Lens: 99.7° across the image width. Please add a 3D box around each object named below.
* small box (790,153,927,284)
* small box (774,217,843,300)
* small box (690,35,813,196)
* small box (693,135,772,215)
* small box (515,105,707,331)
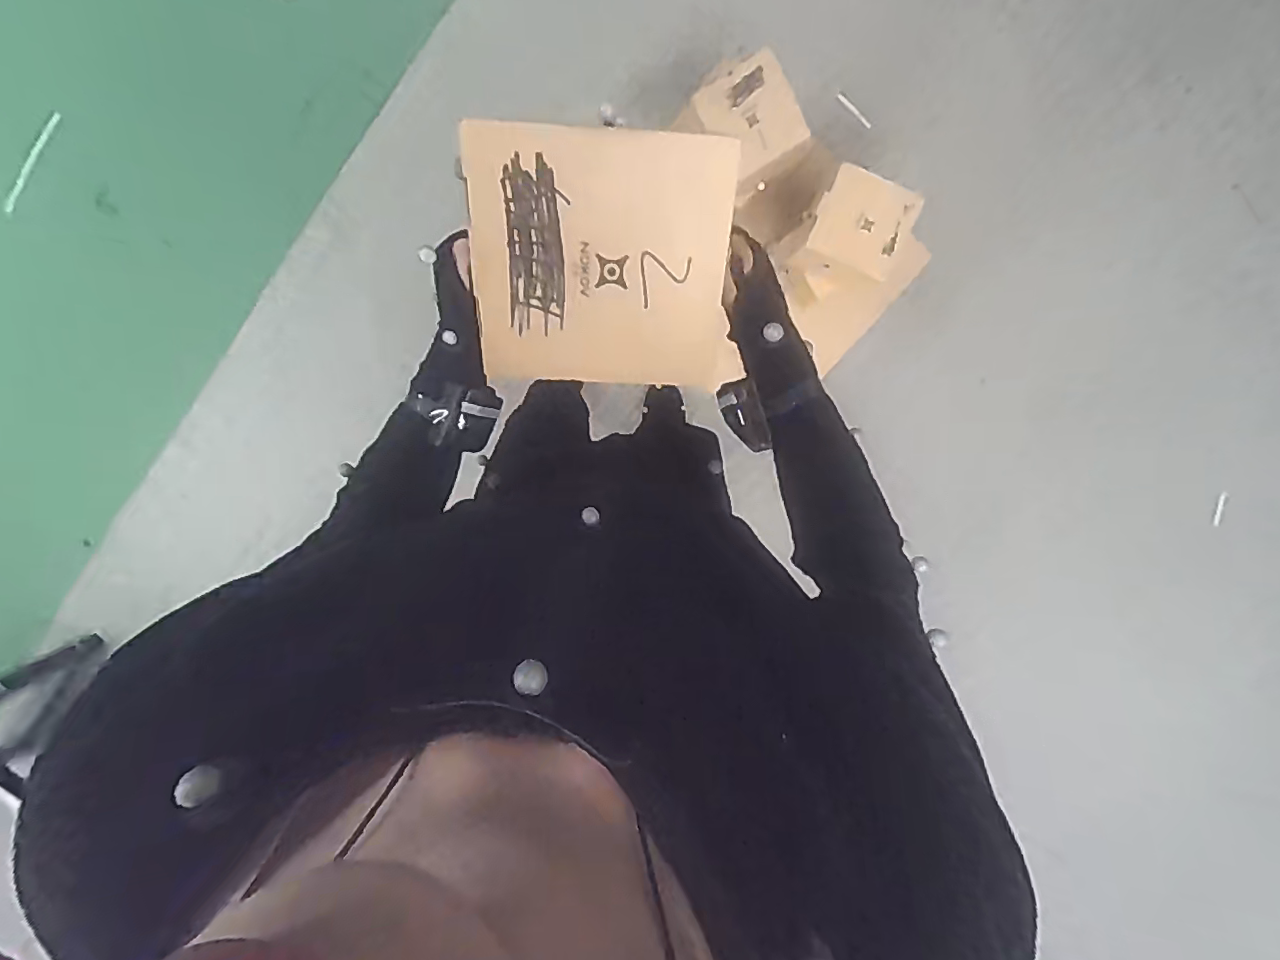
[{"bbox_3d":[0.427,-0.514,1.094,0.179,0.176,0.168,24,102,-2],"label":"small box"},{"bbox_3d":[0.436,-0.538,1.256,0.179,0.176,0.168,-28,100,9],"label":"small box"},{"bbox_3d":[0.209,-0.700,1.064,0.168,0.176,0.179,-28,101,8],"label":"small box"},{"bbox_3d":[0.219,-0.739,1.224,0.168,0.176,0.179,43,101,-7],"label":"small box"},{"bbox_3d":[-0.035,-0.278,0.573,0.168,0.176,0.179,6,123,-6],"label":"small box"}]
